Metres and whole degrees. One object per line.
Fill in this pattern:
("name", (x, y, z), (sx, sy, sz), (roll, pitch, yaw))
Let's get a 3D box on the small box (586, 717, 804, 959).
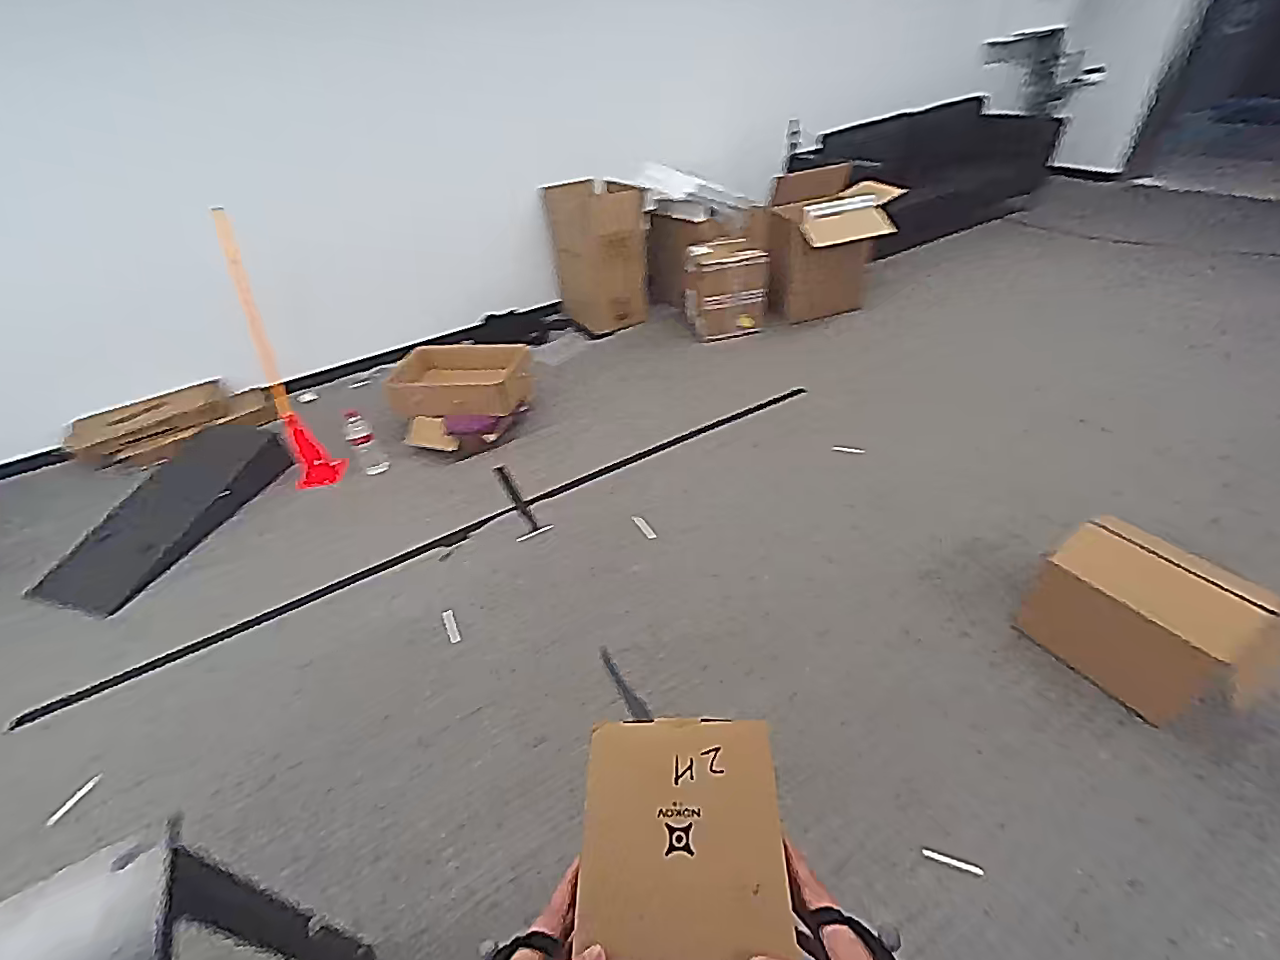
("small box", (0.052, 0.345, 0.511), (0.168, 0.176, 0.179), (-2, 44, 5))
